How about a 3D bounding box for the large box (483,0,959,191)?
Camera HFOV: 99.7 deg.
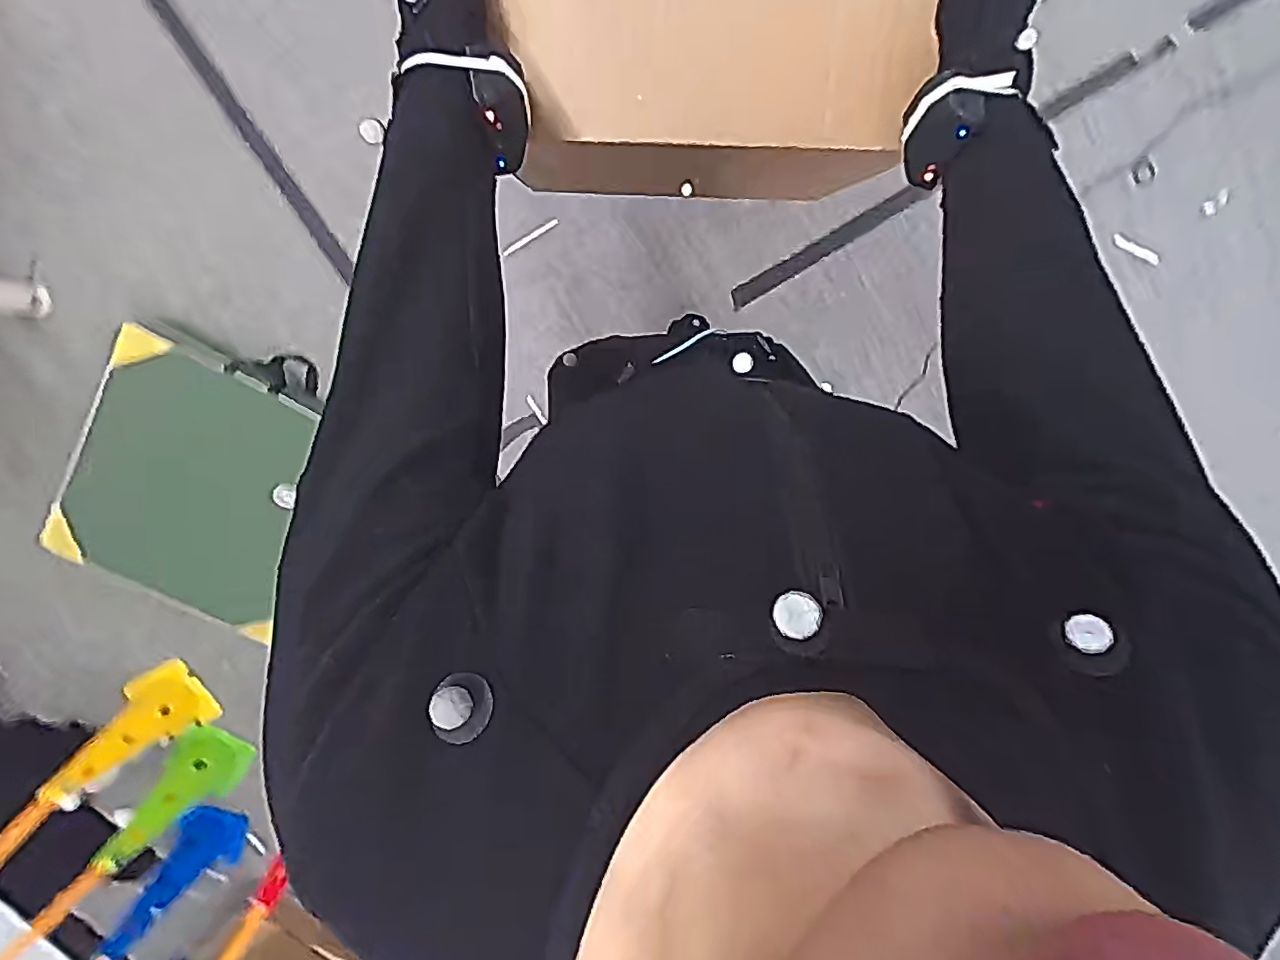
[{"bbox_3d":[0.069,-0.499,0.568,0.408,0.320,0.320,2,110,-2],"label":"large box"}]
